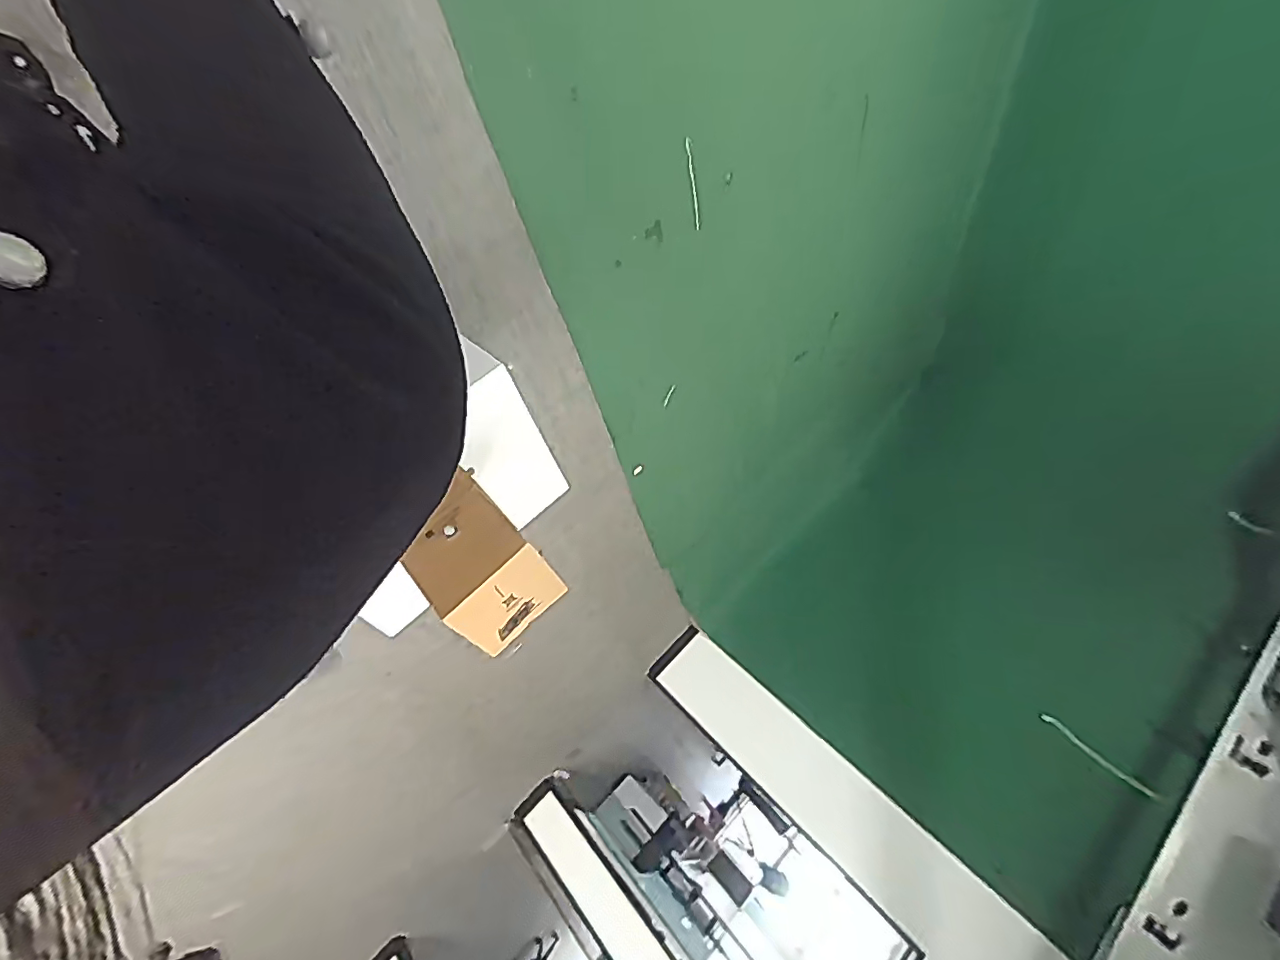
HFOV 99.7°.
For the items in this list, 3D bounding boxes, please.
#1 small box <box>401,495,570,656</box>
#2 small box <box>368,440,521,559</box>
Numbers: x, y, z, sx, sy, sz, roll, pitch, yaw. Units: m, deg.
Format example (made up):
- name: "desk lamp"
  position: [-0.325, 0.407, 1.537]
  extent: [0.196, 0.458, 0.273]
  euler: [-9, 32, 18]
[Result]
- name: "small box"
  position: [-0.250, 0.154, 0.887]
  extent: [0.168, 0.176, 0.179]
  euler: [-44, 147, -11]
- name: "small box"
  position: [-0.356, 0.062, 0.973]
  extent: [0.179, 0.176, 0.168]
  euler: [-44, 146, -14]
